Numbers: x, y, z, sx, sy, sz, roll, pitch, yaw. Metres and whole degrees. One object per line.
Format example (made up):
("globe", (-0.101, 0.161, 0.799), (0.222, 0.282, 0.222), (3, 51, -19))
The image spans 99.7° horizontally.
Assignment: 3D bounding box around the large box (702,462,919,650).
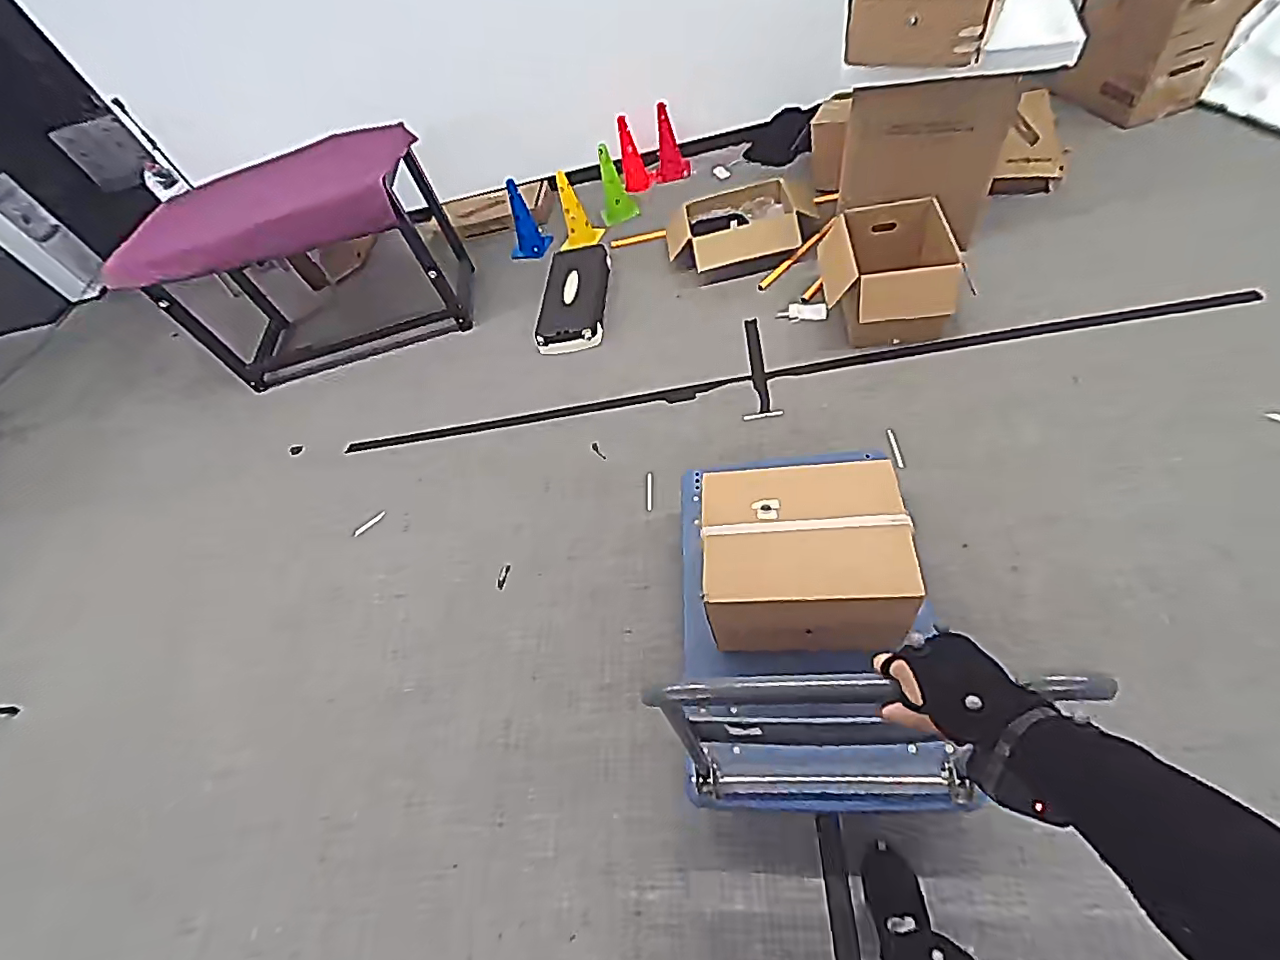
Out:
("large box", (0.364, 0.189, 1.236), (0.408, 0.320, 0.320), (-5, 53, 13))
